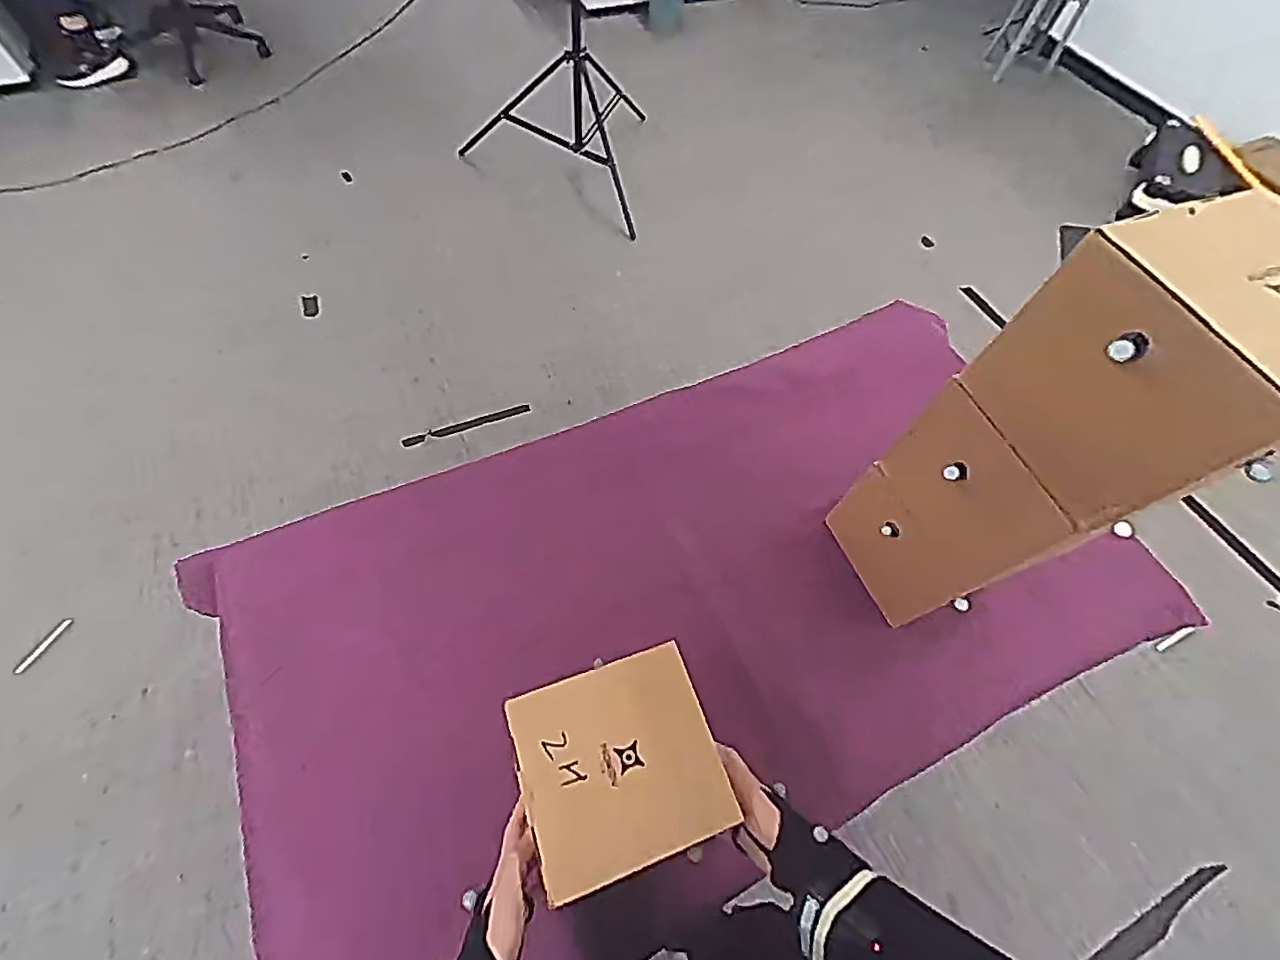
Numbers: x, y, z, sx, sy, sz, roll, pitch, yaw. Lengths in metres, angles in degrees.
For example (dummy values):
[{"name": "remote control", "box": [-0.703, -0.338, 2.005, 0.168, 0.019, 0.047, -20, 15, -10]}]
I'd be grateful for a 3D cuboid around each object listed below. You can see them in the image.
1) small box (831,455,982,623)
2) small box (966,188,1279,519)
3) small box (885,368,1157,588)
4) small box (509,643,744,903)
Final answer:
[{"name": "small box", "box": [0.385, 0.063, 0.713, 0.168, 0.176, 0.179, -19, 64, -14]}, {"name": "small box", "box": [0.411, -0.086, 0.423, 0.168, 0.176, 0.179, -17, 63, -13]}, {"name": "small box", "box": [0.398, -0.012, 0.568, 0.168, 0.176, 0.179, -17, 63, -13]}, {"name": "small box", "box": [-0.021, 0.289, 0.555, 0.179, 0.176, 0.168, -16, 62, -13]}]
